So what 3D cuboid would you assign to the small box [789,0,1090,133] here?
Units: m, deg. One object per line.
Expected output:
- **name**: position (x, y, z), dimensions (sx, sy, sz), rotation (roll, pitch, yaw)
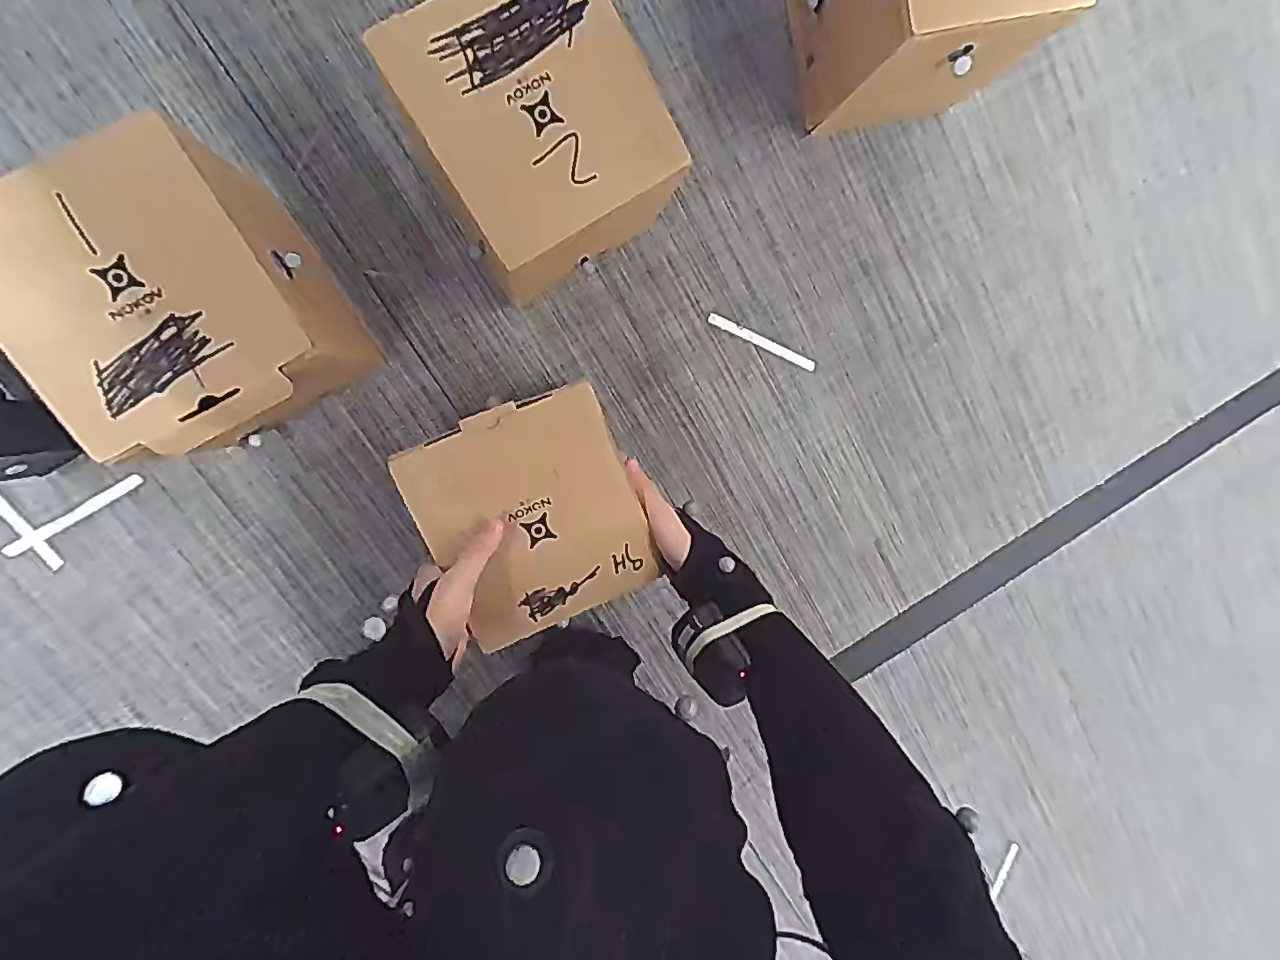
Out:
- **small box**: position (0.262, -0.457, 0.502), dimensions (0.179, 0.176, 0.168), rotation (-15, 101, -8)
